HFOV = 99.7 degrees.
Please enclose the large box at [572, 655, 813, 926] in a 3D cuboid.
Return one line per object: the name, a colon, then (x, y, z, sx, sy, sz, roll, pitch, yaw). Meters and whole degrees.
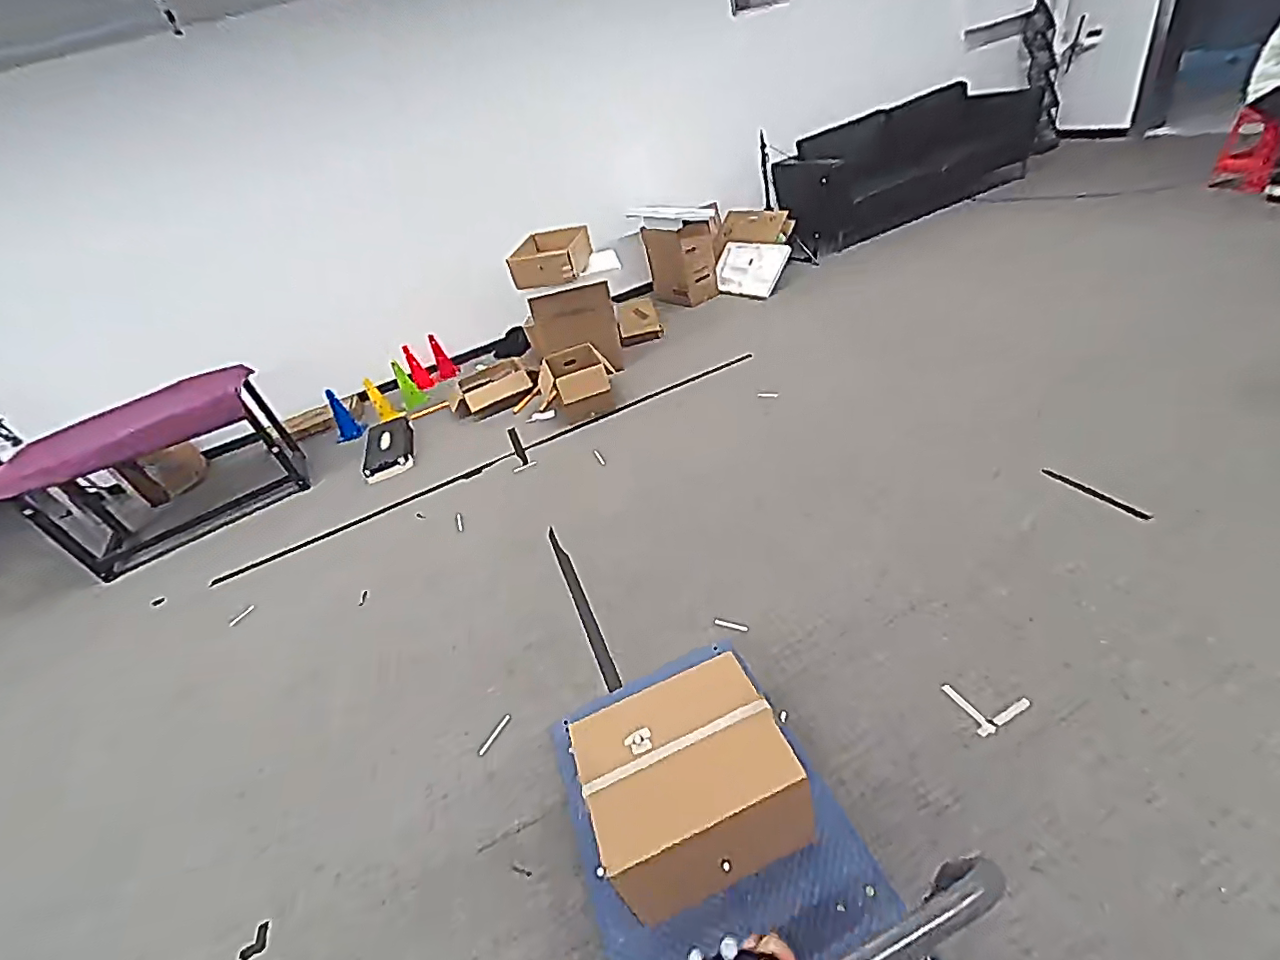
large box: (0.115, 0.670, 1.188, 0.408, 0.320, 0.320, -23, 34, -7)
